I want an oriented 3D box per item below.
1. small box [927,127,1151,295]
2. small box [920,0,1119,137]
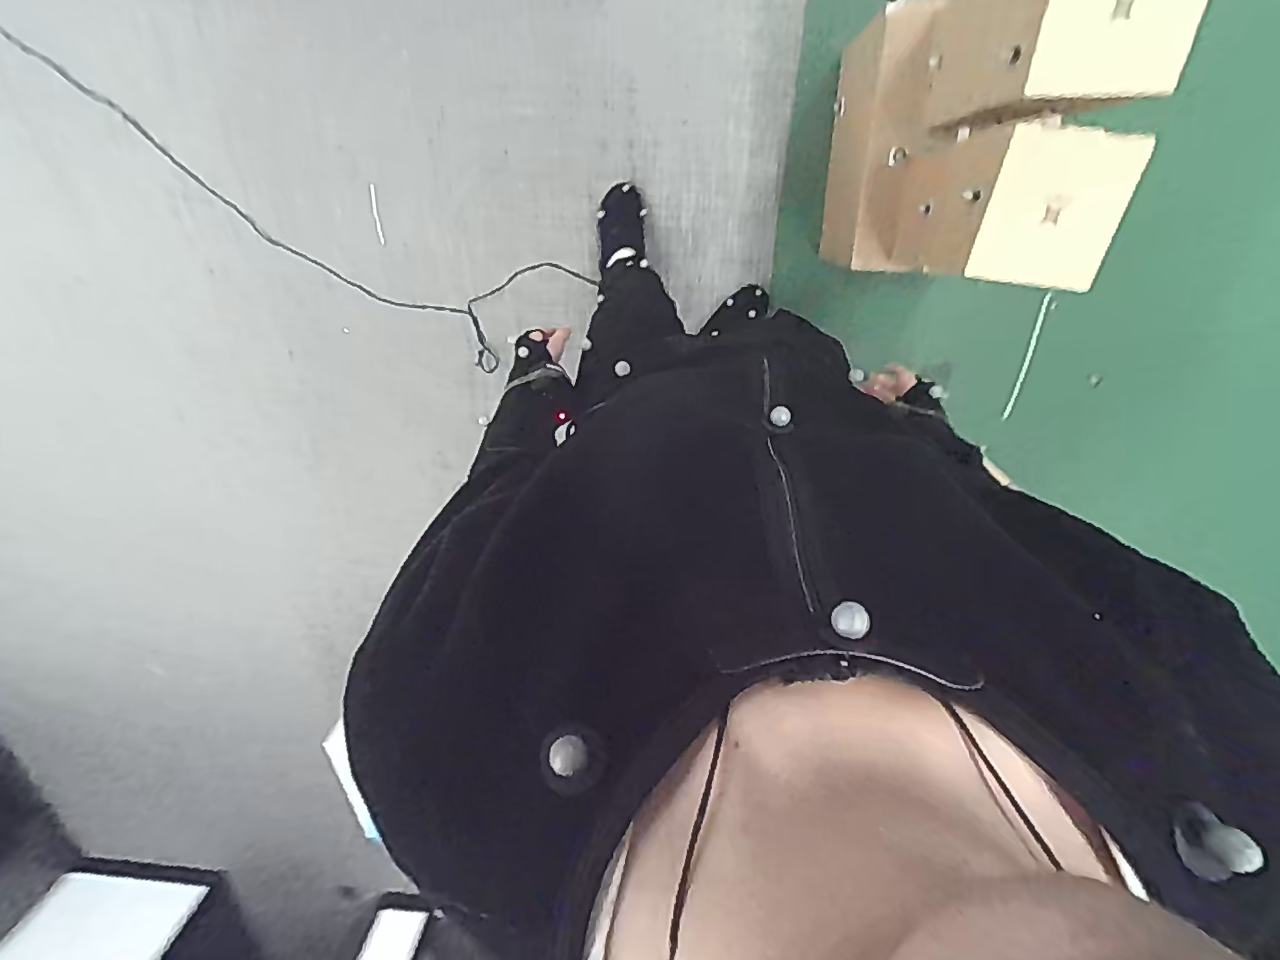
[{"bbox_3d":[0.528,-0.366,0.753,0.168,0.176,0.179,9,114,3],"label":"small box"},{"bbox_3d":[0.552,-0.623,0.809,0.179,0.176,0.168,0,115,6],"label":"small box"}]
